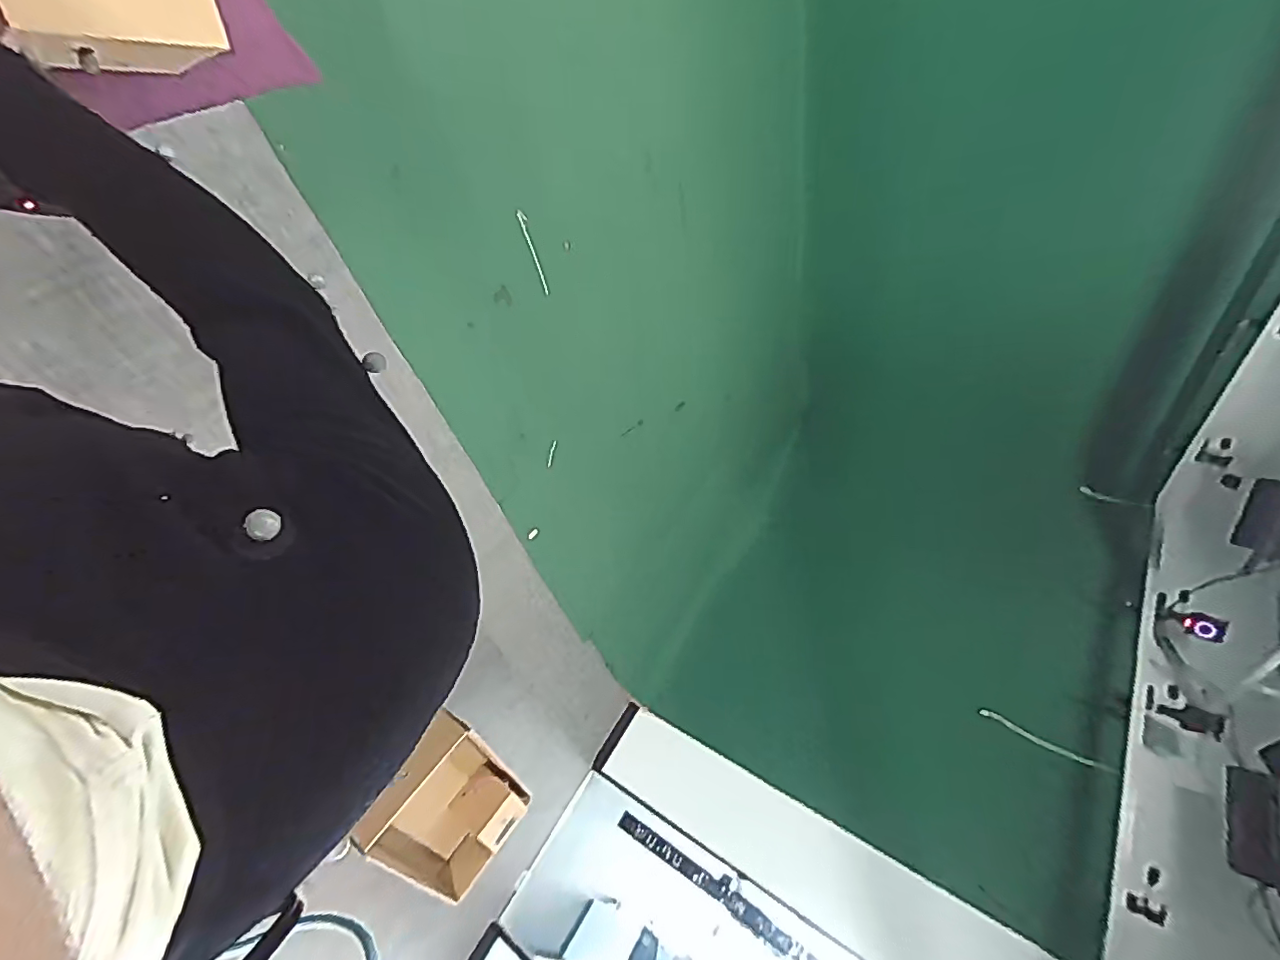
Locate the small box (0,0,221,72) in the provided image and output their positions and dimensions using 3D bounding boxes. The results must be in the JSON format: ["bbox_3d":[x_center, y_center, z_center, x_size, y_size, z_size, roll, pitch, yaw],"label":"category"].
[{"bbox_3d":[-0.536,-0.494,0.493,0.168,0.176,0.179,-35,131,-42],"label":"small box"}]
